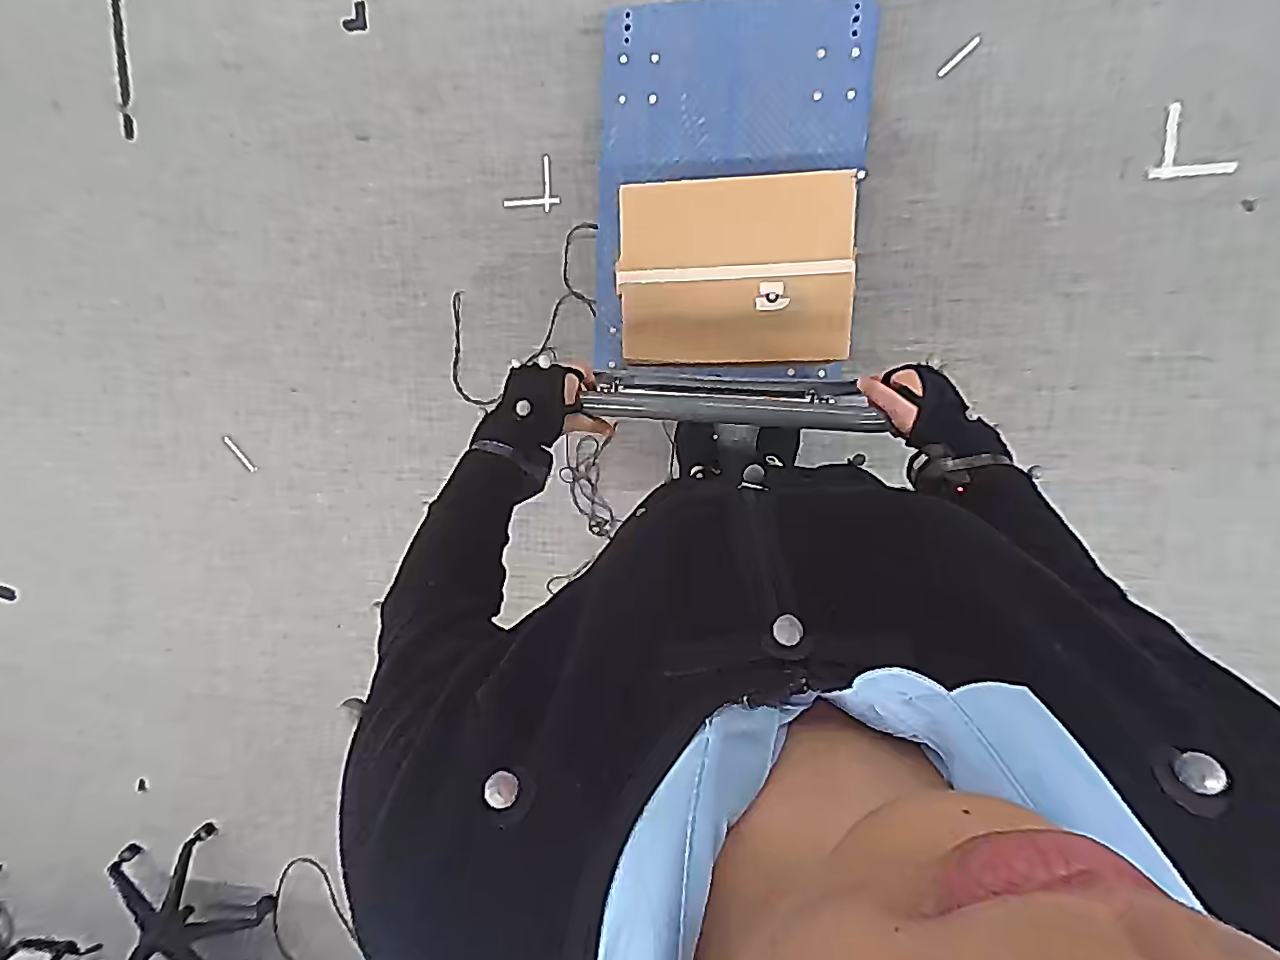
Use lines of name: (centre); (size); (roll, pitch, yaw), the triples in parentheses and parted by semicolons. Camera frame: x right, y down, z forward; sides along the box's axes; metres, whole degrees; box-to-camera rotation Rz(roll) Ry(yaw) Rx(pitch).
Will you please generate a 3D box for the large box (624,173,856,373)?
large box: (0.189, -0.388, 1.105); (0.408, 0.320, 0.320); (0, 100, 7)
